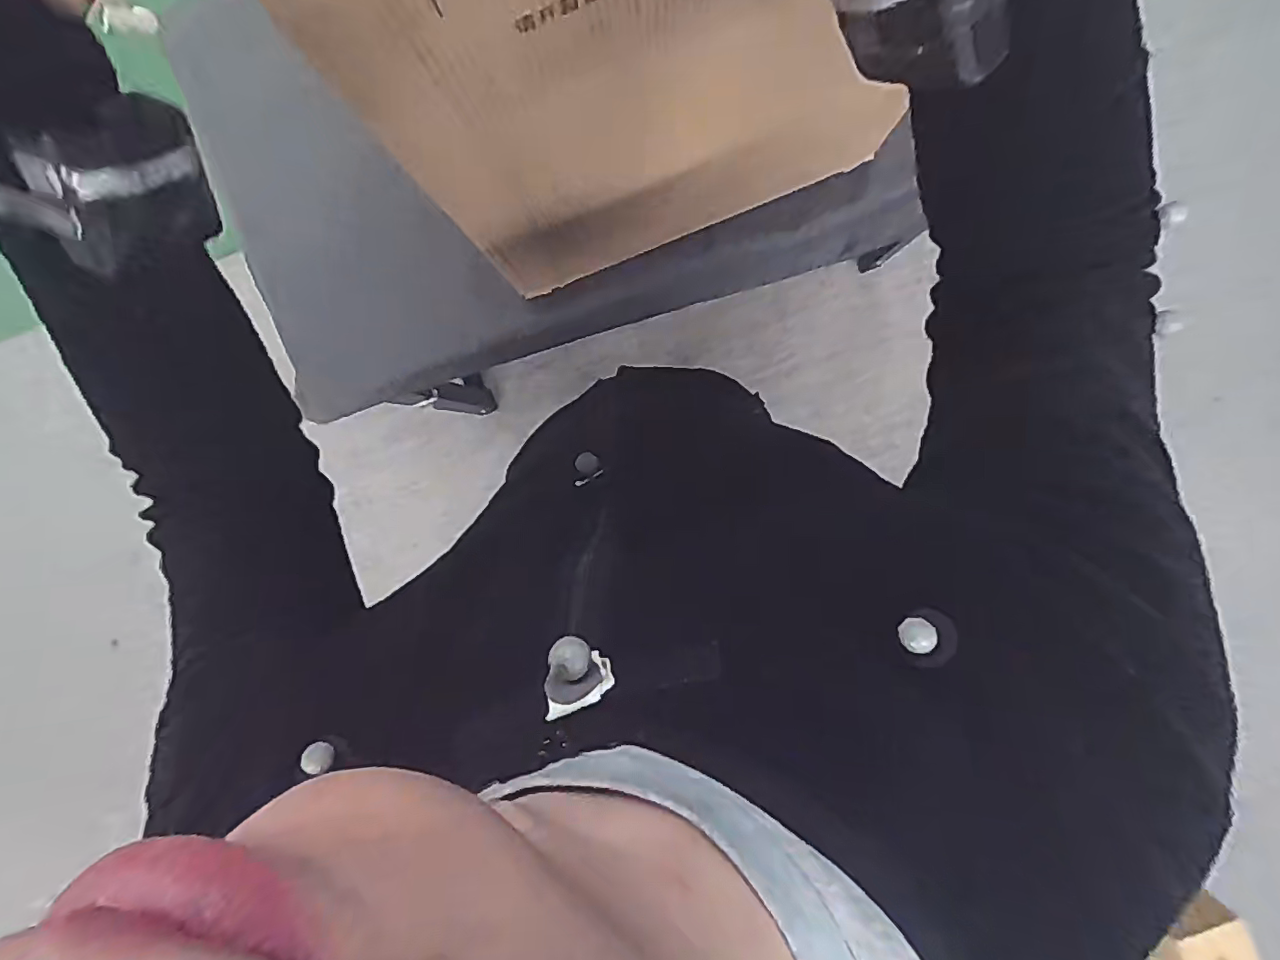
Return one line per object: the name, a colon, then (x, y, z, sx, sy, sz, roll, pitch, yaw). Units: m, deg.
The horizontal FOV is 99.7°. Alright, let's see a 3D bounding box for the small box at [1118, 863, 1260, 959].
small box: (1.349, 1.104, 1.334, 0.168, 0.176, 0.179, -22, 93, 2)
